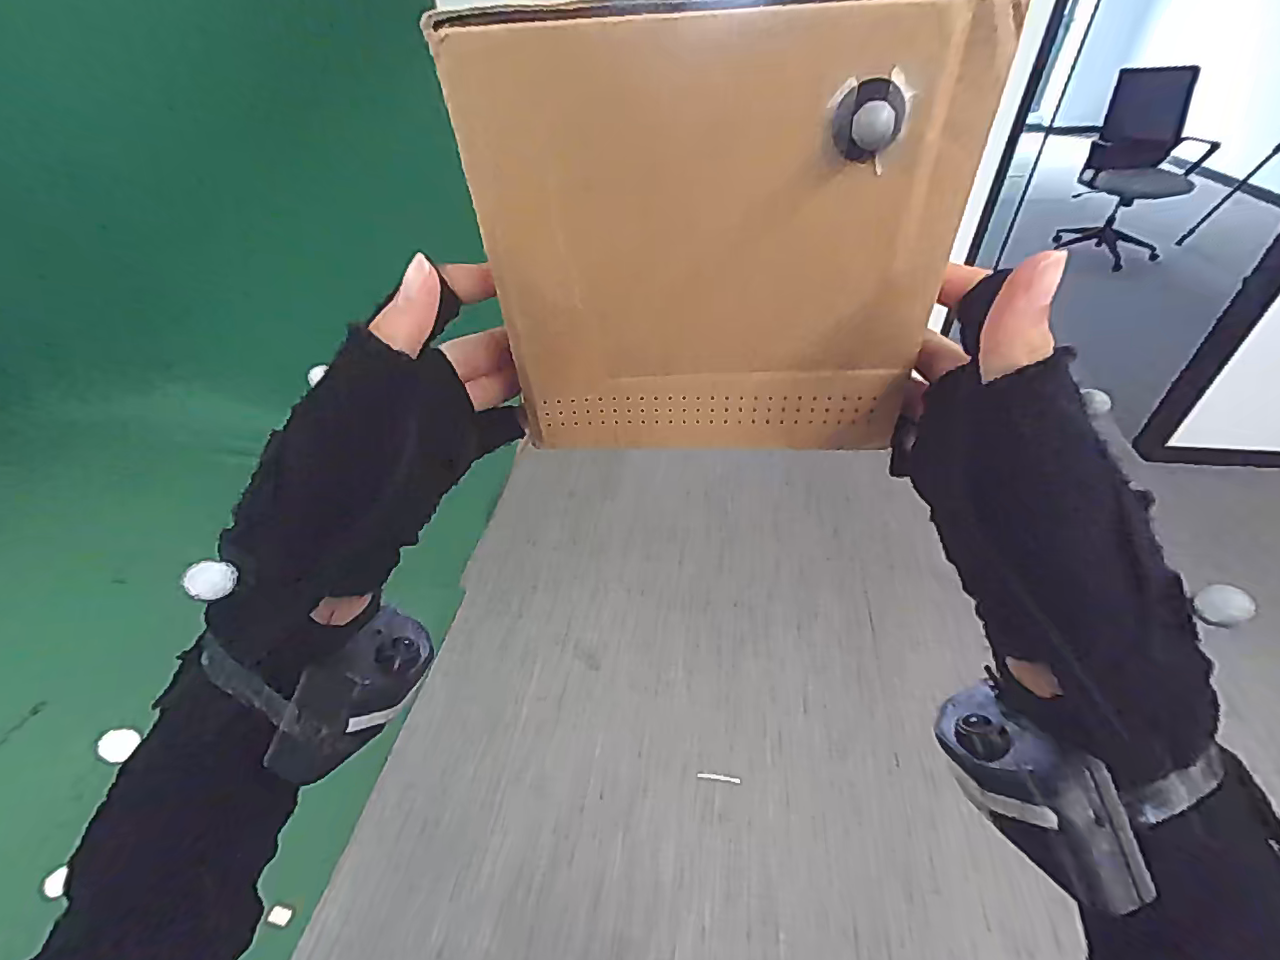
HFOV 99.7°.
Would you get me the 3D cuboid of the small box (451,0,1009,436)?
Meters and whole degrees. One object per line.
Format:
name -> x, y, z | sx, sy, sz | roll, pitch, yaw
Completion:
small box -> 0.035, -0.135, 0.275 | 0.179, 0.176, 0.168 | 0, 43, 5
